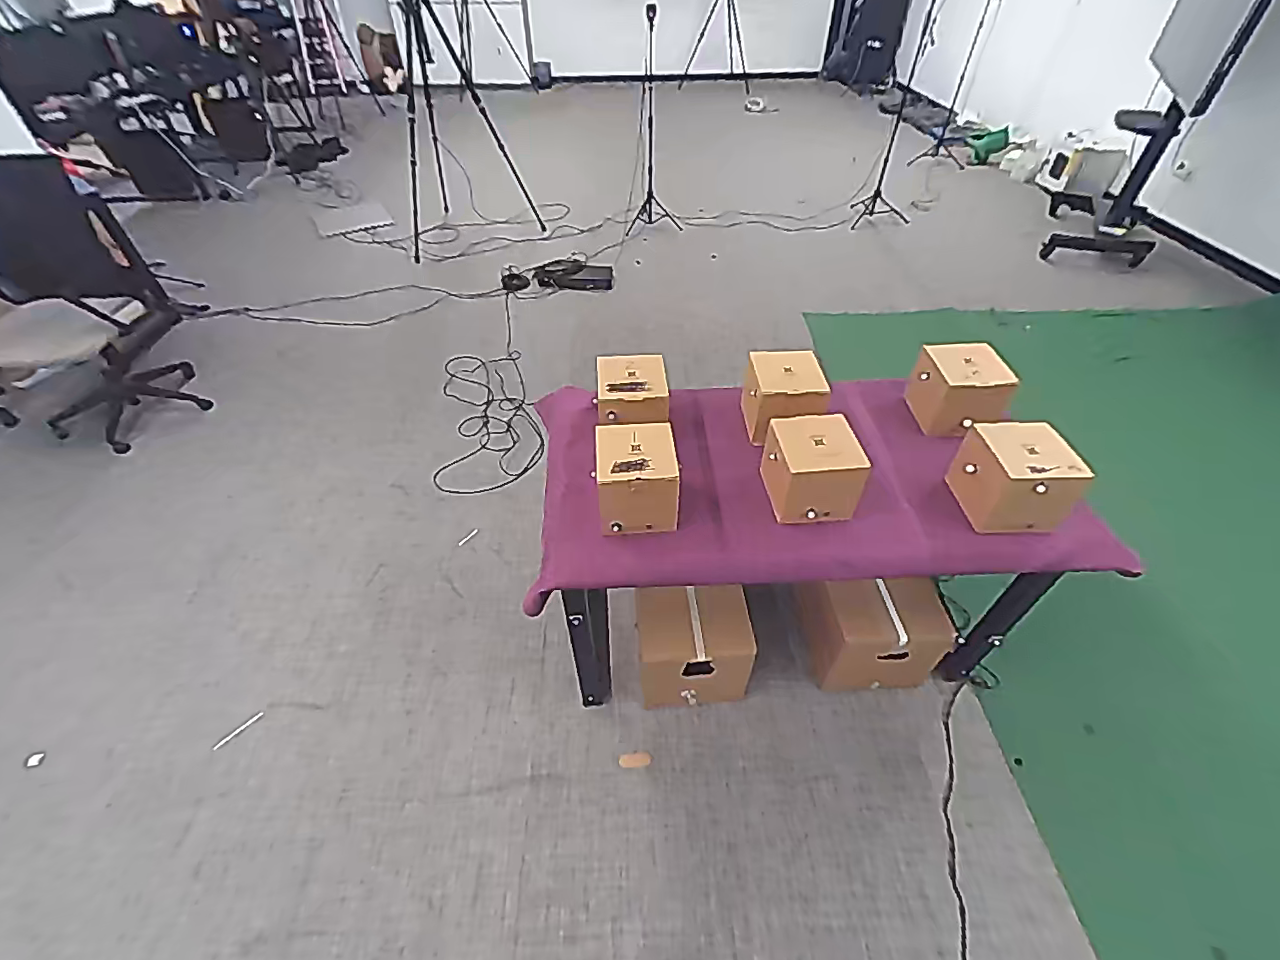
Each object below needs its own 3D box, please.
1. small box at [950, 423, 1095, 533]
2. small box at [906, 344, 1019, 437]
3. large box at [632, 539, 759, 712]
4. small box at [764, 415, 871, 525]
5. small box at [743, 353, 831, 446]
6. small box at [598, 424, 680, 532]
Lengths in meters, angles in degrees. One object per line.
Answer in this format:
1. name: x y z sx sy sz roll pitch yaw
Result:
1. small box: 0.805 -0.005 1.164 0.168 0.176 0.179 -2 43 2
2. small box: 0.812 -0.229 1.386 0.168 0.176 0.179 -3 46 2
3. large box: 0.151 0.443 1.668 0.320 0.320 0.408 -4 44 -3
4. small box: 0.379 -0.022 1.194 0.168 0.176 0.179 -4 45 -2
5. small box: 0.365 -0.205 1.379 0.168 0.176 0.179 -2 46 -2
6. small box: -0.003 0.000 1.176 0.168 0.176 0.179 -3 44 -3
